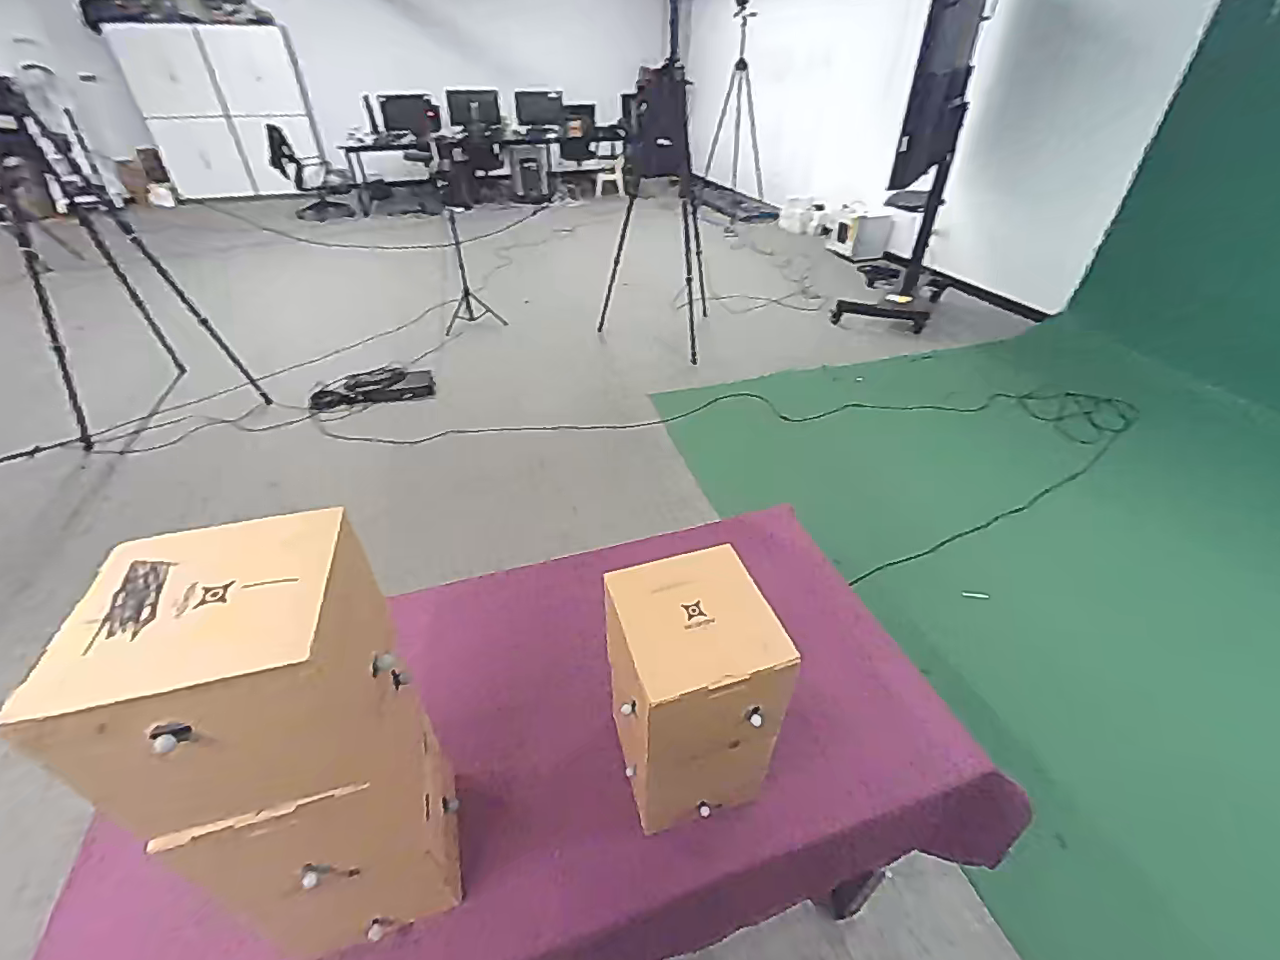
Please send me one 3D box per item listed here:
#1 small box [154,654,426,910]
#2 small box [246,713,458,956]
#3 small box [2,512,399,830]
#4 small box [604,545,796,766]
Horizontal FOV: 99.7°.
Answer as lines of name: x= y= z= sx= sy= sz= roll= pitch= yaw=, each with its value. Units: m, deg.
small box: x=-0.323 y=0.285 z=0.547 sx=0.168 sy=0.176 sz=0.179 roll=-12 pitch=40 yaw=-13
small box: x=-0.322 y=0.418 z=0.645 sx=0.179 sy=0.176 sz=0.168 roll=-12 pitch=39 yaw=-15
small box: x=-0.320 y=0.154 z=0.448 sx=0.179 sy=0.176 sz=0.168 roll=-10 pitch=39 yaw=-13
small box: x=0.060 y=0.210 z=0.642 sx=0.168 sy=0.176 sz=0.179 roll=-11 pitch=39 yaw=-14
